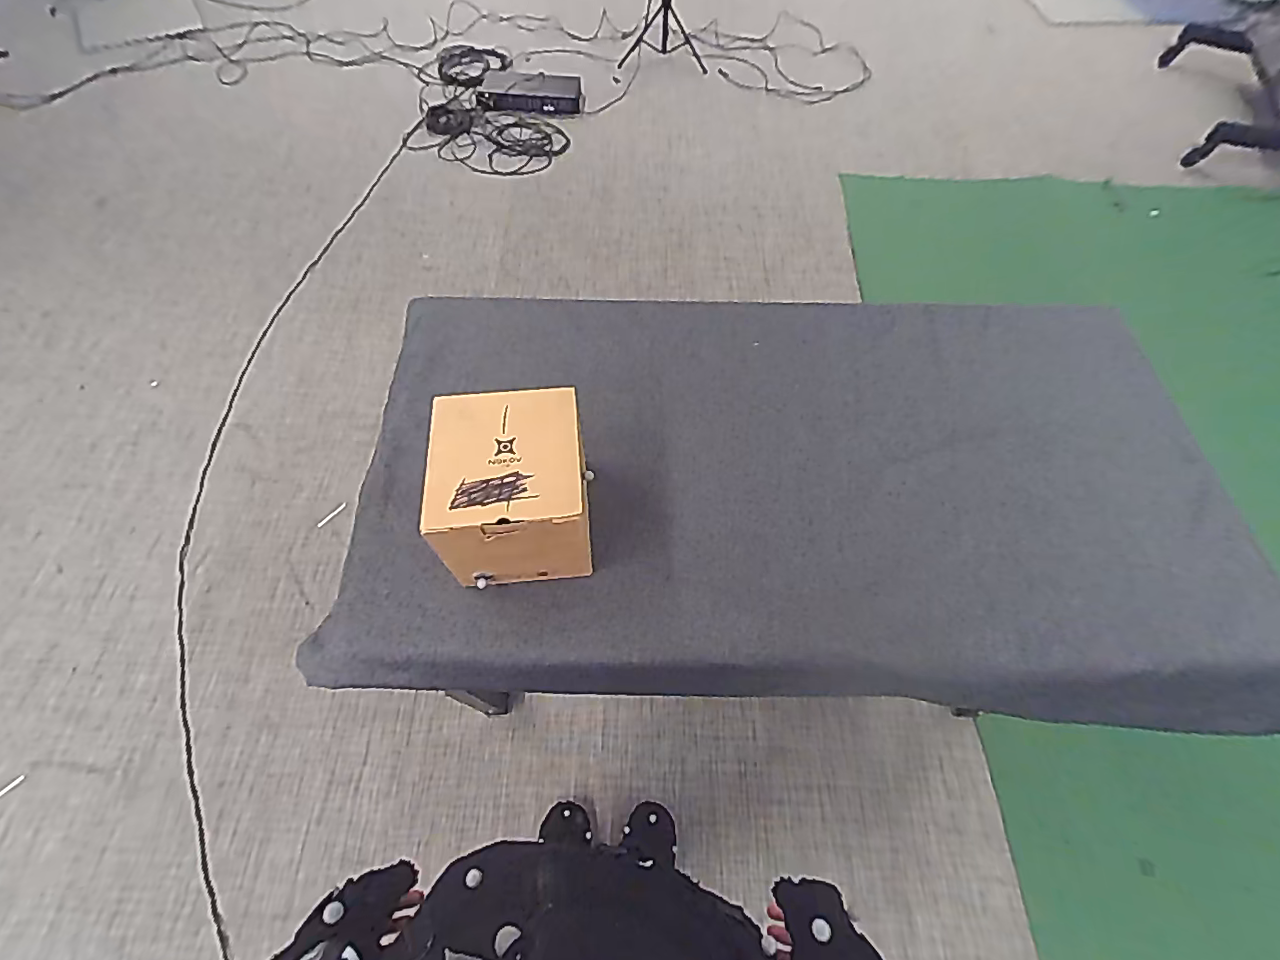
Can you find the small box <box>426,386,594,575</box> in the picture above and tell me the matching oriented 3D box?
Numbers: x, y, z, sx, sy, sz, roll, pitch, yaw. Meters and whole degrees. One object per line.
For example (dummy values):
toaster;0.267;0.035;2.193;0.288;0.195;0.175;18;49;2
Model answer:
small box;-0.146;0.009;0.665;0.168;0.176;0.179;-5;59;-4
